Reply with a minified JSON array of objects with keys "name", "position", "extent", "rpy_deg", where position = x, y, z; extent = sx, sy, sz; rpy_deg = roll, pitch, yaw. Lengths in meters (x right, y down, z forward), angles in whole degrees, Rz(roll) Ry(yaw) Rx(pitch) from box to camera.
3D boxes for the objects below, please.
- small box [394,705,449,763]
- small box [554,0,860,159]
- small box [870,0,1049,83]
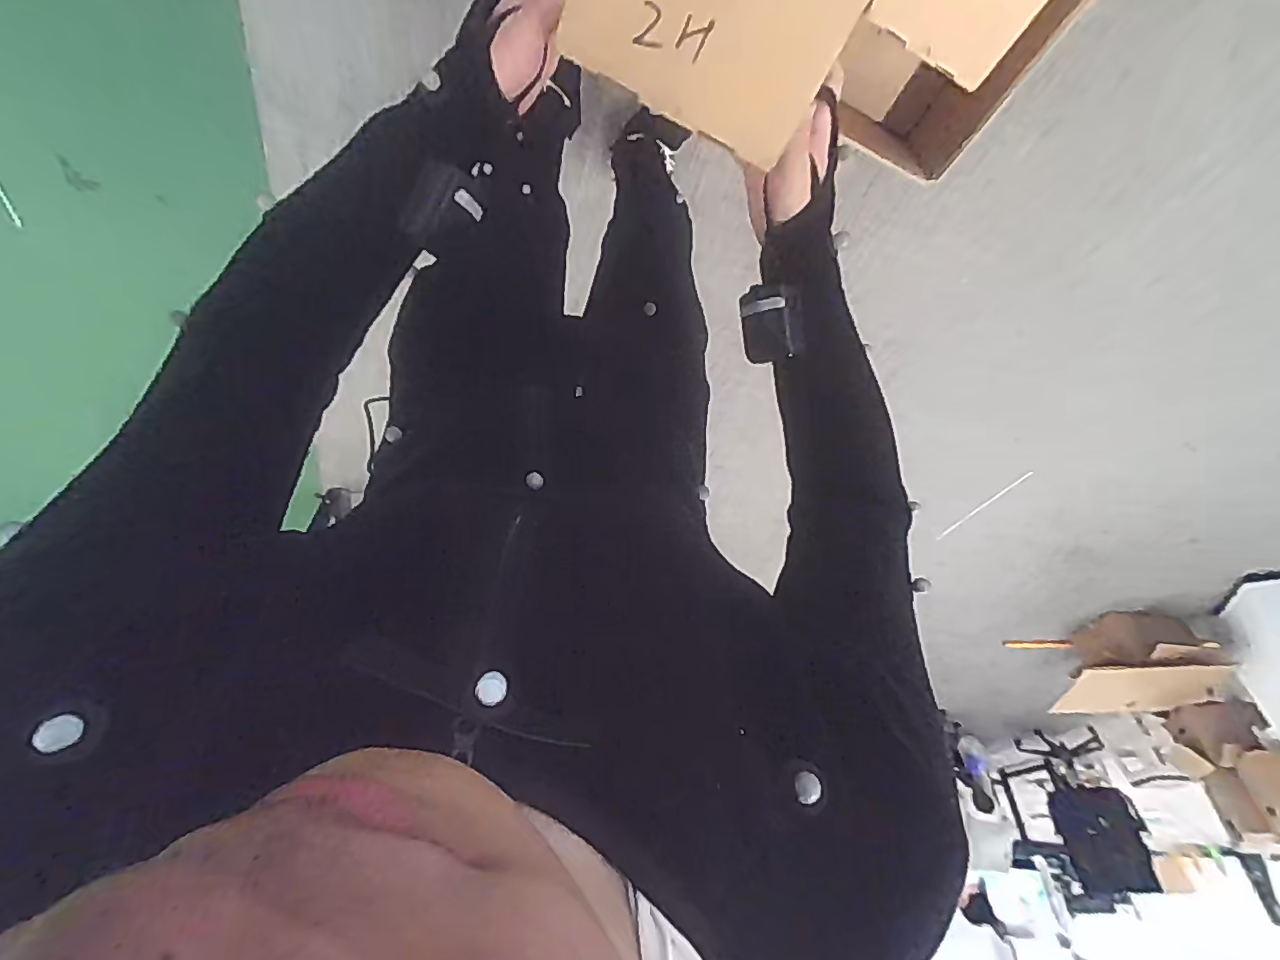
[{"name":"small box","position":[-0.879,1.027,2.184],"extent":[0.168,0.176,0.179],"rpy_deg":[13,139,-12]},{"name":"small box","position":[0.054,-0.360,0.360],"extent":[0.168,0.176,0.179],"rpy_deg":[19,131,-16]},{"name":"small box","position":[0.354,-0.586,0.579],"extent":[0.168,0.176,0.179],"rpy_deg":[17,140,-17]}]
